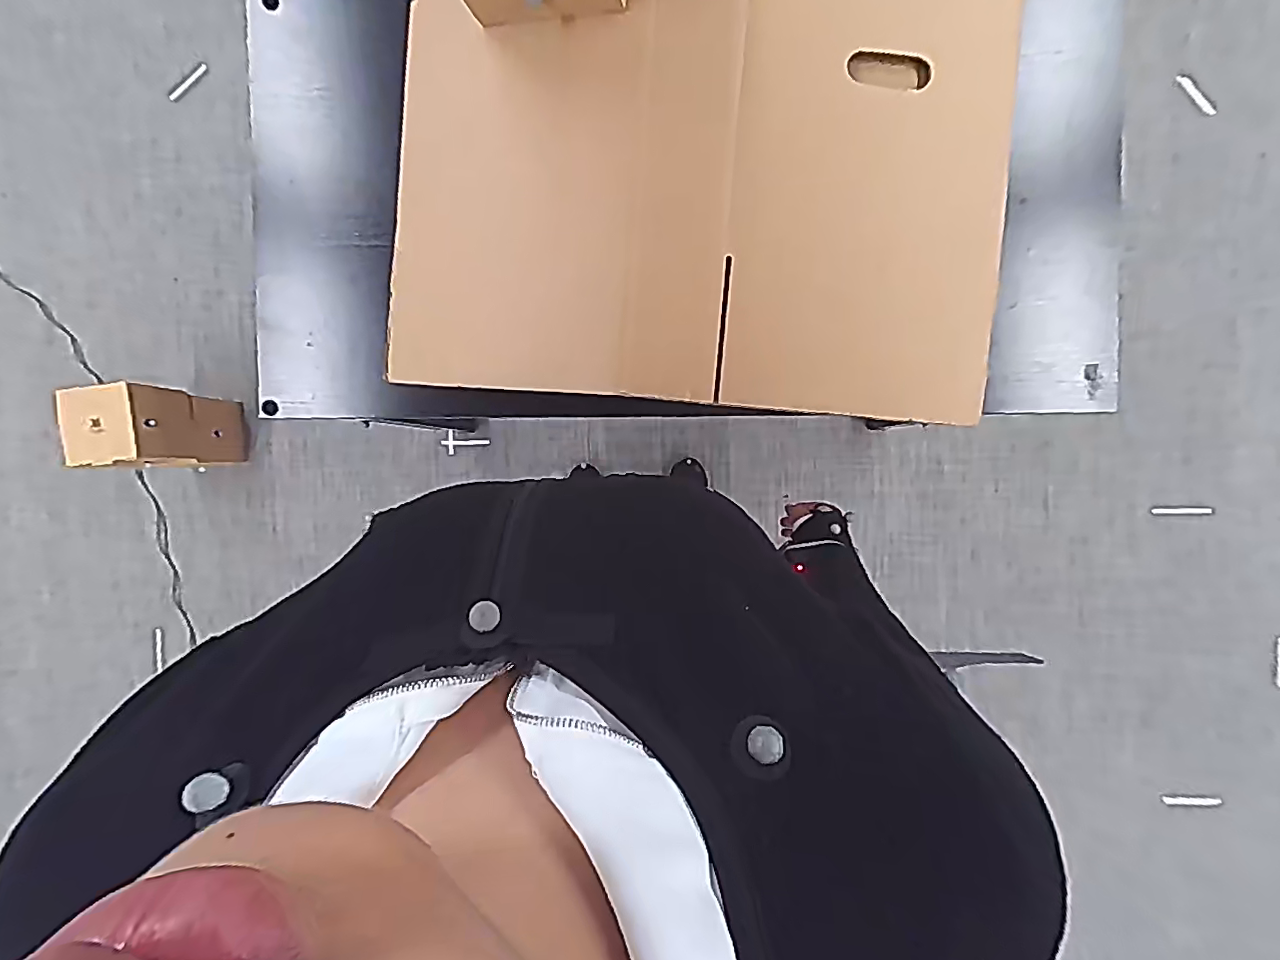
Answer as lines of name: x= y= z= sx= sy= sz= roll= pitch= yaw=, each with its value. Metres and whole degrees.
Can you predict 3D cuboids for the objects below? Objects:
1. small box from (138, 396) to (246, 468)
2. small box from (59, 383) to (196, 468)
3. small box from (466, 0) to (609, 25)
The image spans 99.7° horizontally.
small box: x=-1.201 y=-0.123 z=1.450 sx=0.168 sy=0.176 sz=0.179 roll=-4 pitch=92 yaw=2
small box: x=-1.206 y=-0.125 z=1.287 sx=0.168 sy=0.176 sz=0.179 roll=-7 pitch=91 yaw=1
small box: x=-0.109 y=-0.587 z=0.517 sx=0.179 sy=0.176 sz=0.168 roll=6 pitch=91 yaw=14
